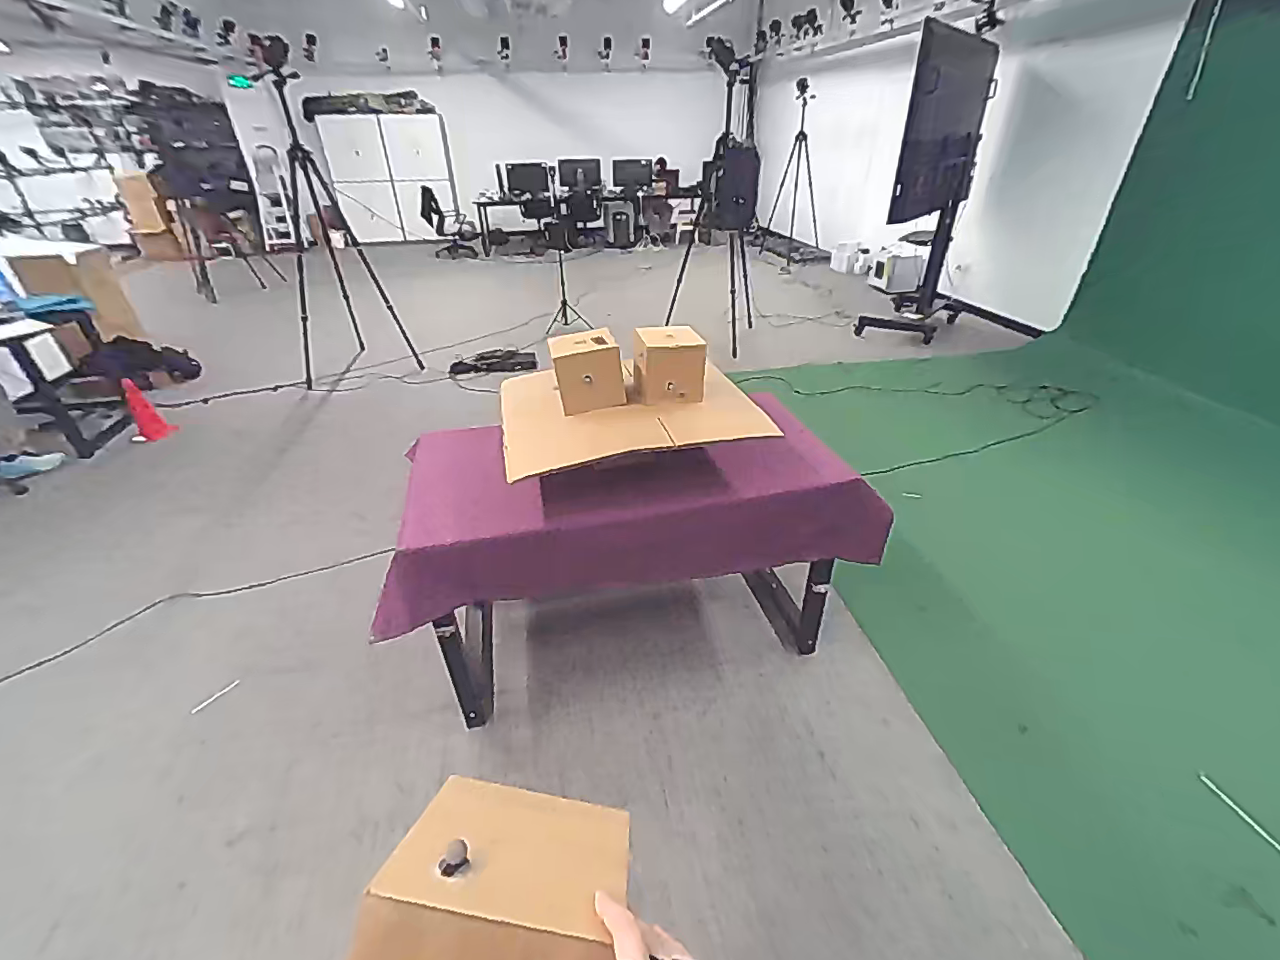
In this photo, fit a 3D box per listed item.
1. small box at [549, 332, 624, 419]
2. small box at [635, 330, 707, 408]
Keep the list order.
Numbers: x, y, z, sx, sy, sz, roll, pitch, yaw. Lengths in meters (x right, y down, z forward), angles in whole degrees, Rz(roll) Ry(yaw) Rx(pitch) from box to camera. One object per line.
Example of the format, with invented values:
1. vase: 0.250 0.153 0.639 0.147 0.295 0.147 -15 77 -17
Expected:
1. small box: -0.145 -0.287 1.492 0.179 0.176 0.168 -13 34 -6
2. small box: 0.080 -0.315 1.530 0.168 0.176 0.179 -6 33 -11
